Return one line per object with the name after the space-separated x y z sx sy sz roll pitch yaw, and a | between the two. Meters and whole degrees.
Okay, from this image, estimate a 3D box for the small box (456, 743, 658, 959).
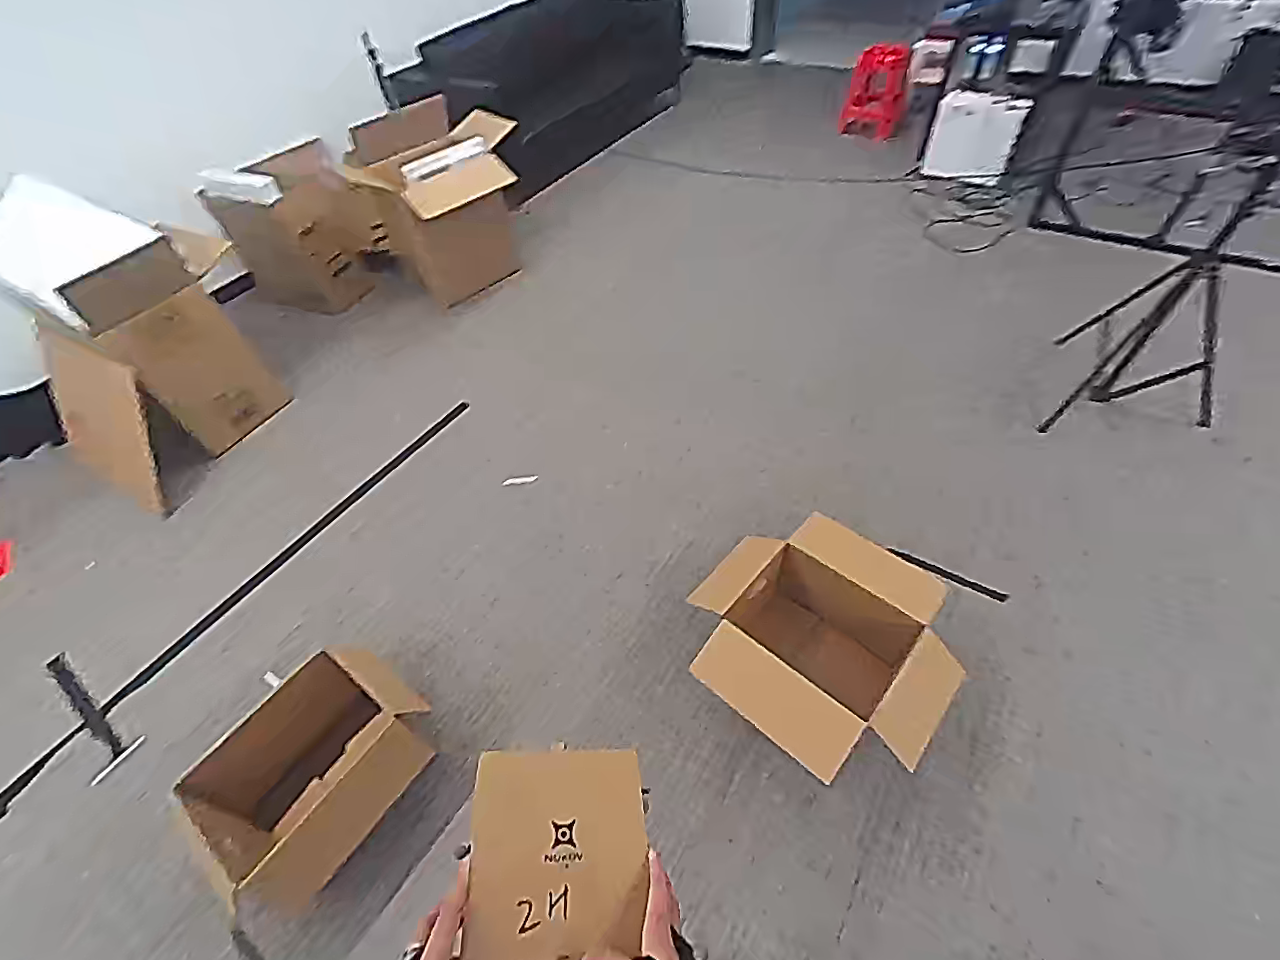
-0.093 0.394 0.551 0.168 0.176 0.179 5 41 -15 | small box
